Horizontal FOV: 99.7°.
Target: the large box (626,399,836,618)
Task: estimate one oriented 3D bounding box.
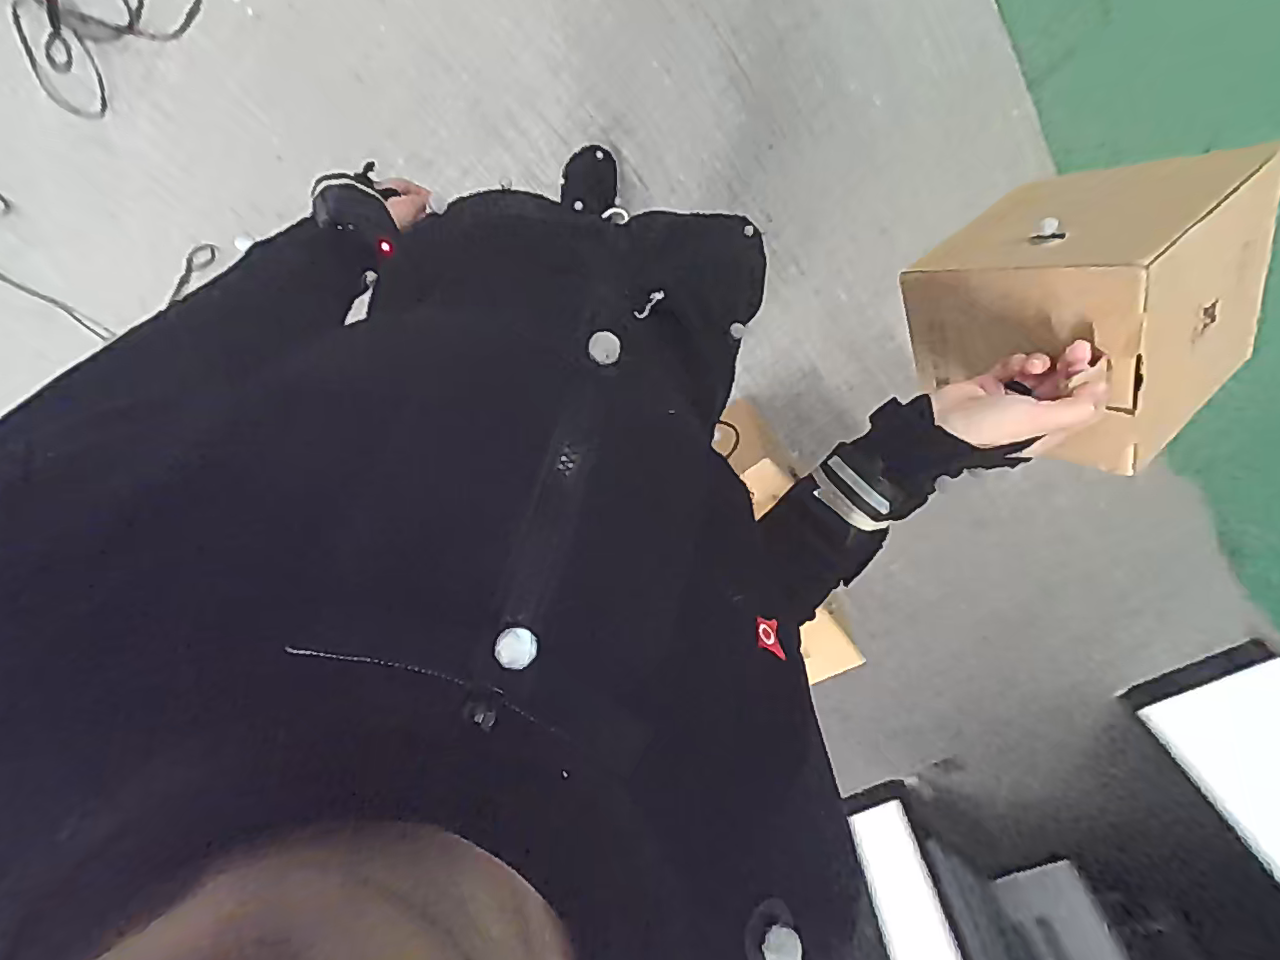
[{"bbox_3d":[0.213,0.073,1.384,0.408,0.320,0.320,-36,116,23],"label":"large box"}]

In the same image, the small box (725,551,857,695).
[{"bbox_3d":[0.279,0.268,1.025,0.168,0.176,0.179,-31,118,19],"label":"small box"}]
